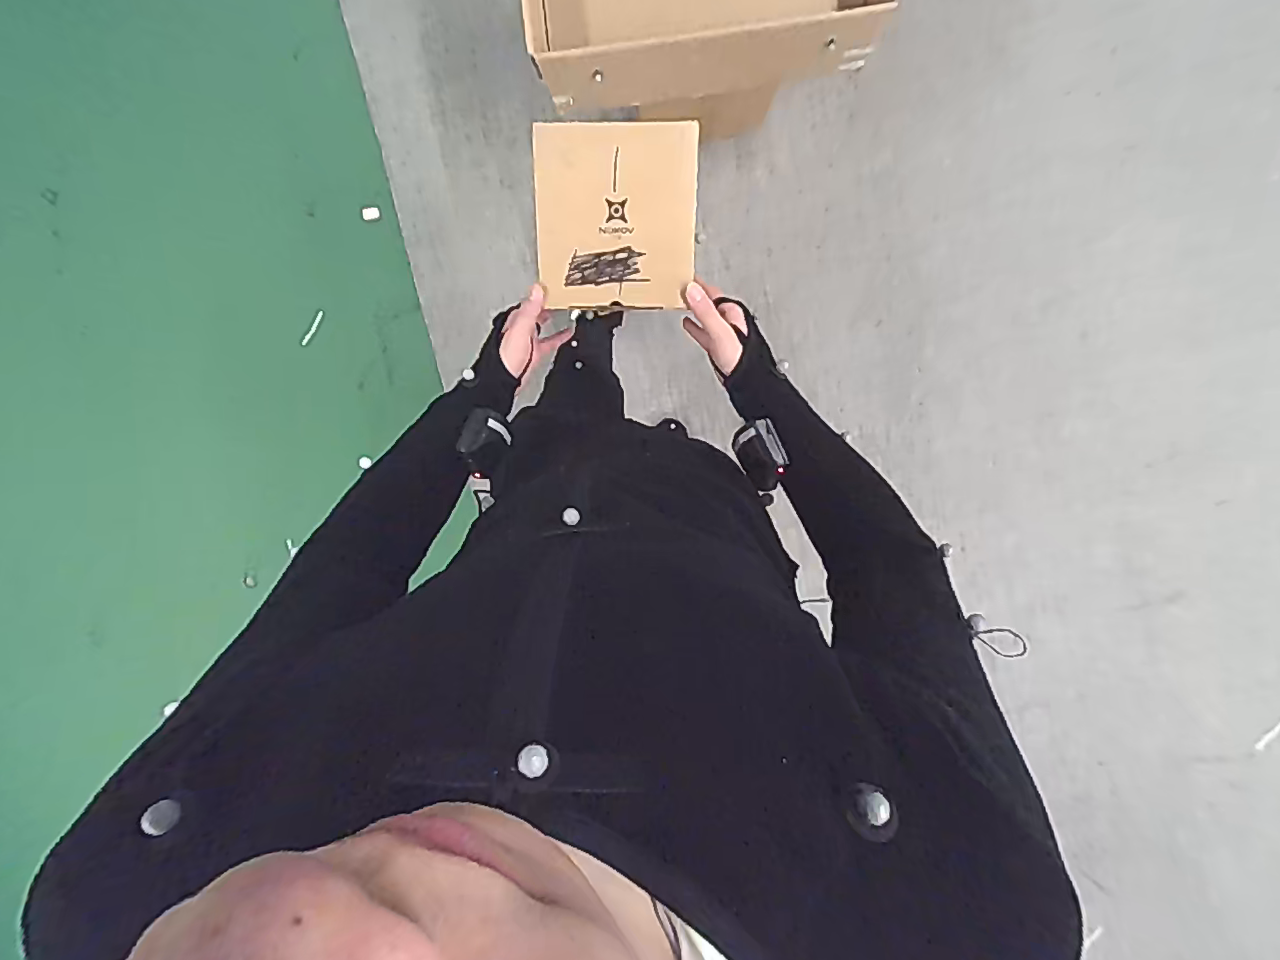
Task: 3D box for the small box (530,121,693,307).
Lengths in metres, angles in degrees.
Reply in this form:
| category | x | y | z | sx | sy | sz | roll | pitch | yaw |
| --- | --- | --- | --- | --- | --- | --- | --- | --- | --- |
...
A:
| category | x | y | z | sx | sy | sz | roll | pitch | yaw |
| --- | --- | --- | --- | --- | --- | --- | --- | --- | --- |
| small box | -0.024 | -0.299 | 0.637 | 0.168 | 0.176 | 0.179 | 2 | 108 | 4 |
